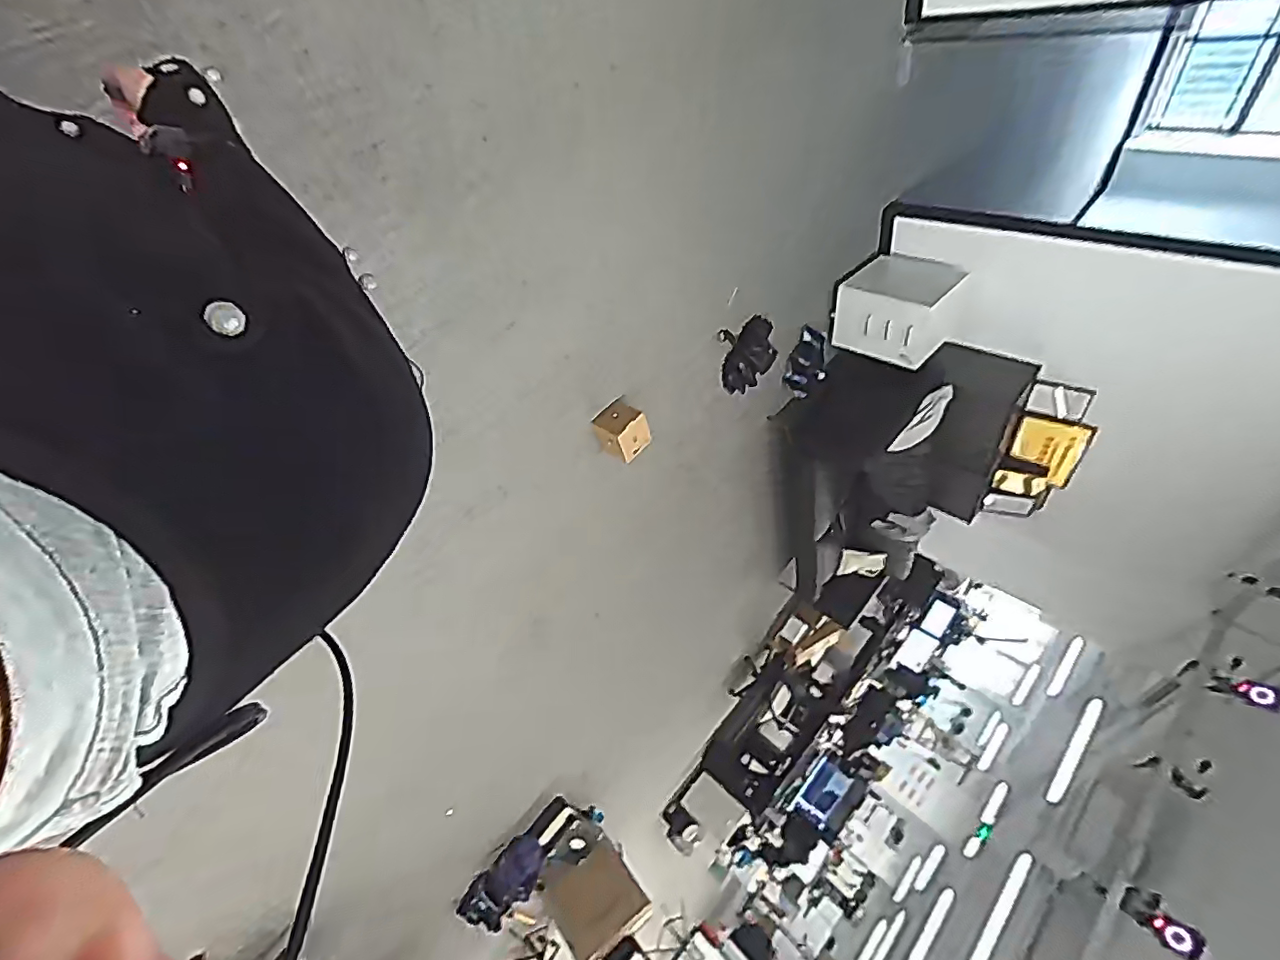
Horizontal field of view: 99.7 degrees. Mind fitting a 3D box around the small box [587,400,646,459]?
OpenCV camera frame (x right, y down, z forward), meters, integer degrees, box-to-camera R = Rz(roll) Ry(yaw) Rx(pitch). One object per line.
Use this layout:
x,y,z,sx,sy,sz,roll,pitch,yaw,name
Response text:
-0.103,-0.228,2.347,0.168,0.176,0.179,-45,143,-19,small box
